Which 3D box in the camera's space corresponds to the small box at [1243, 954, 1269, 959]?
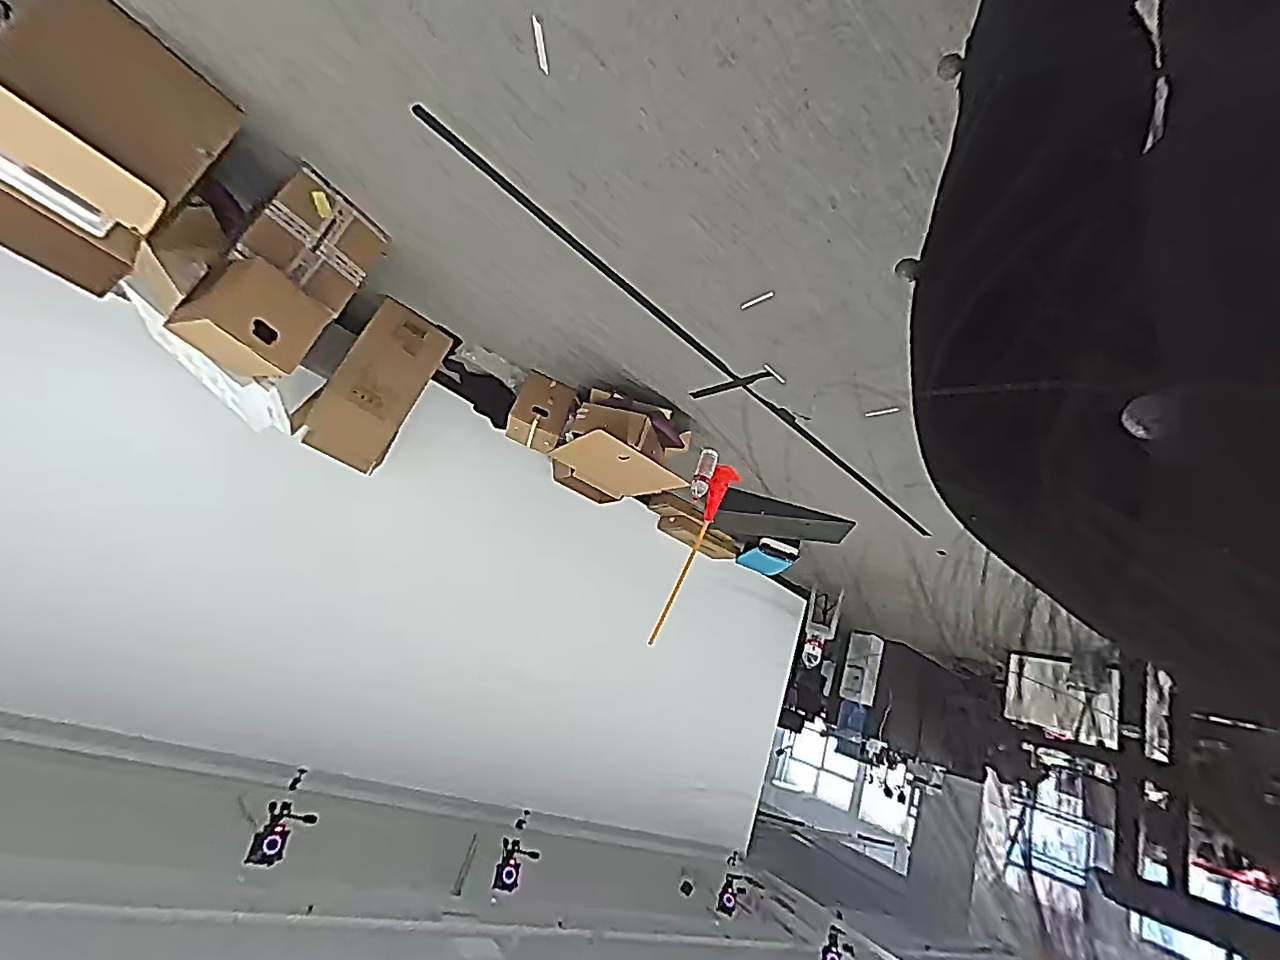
[{"bbox_3d":[1.437,1.165,1.165,0.179,0.176,0.168,31,157,-31],"label":"small box"}]
